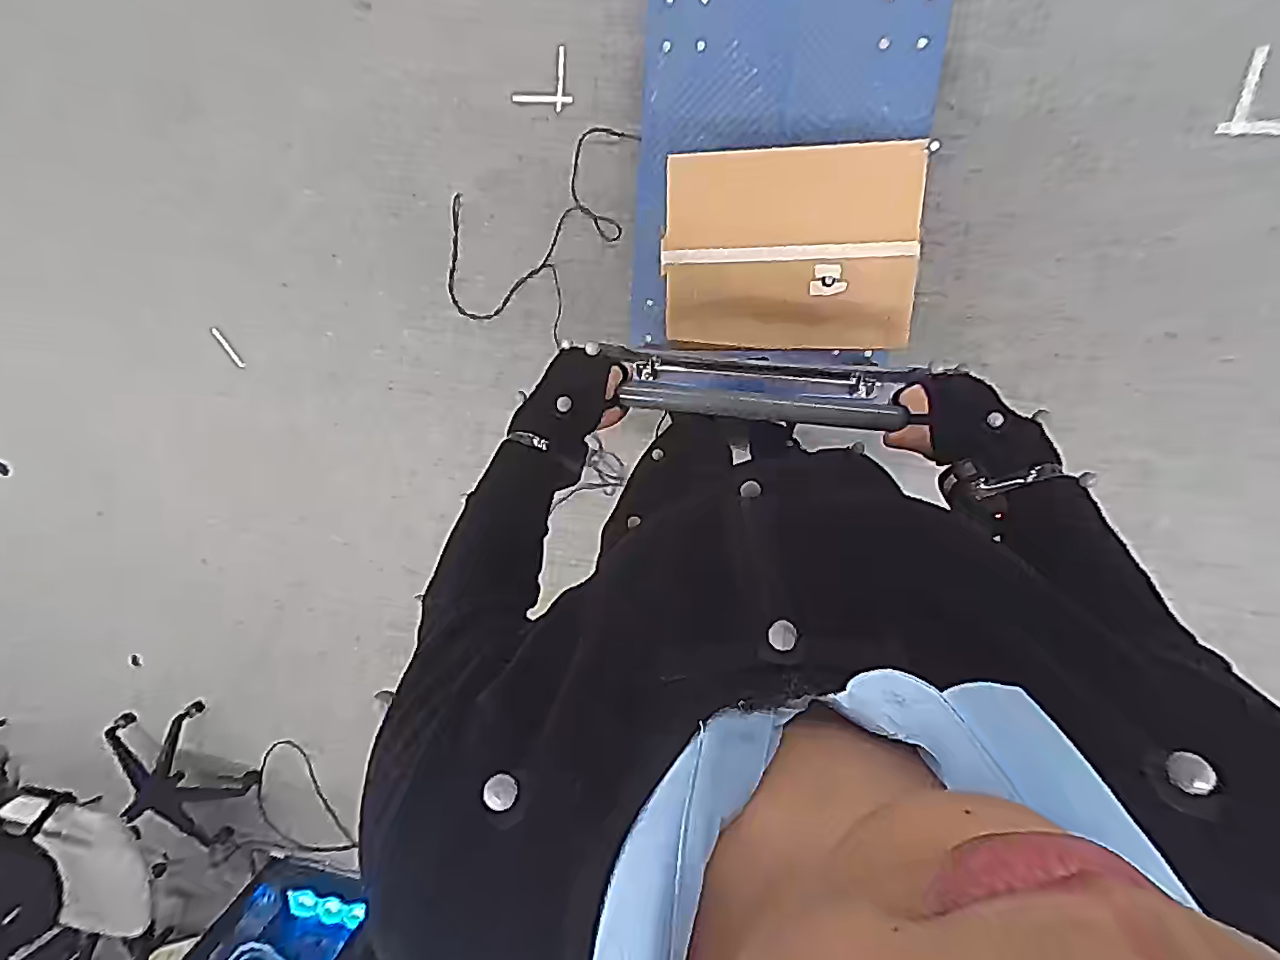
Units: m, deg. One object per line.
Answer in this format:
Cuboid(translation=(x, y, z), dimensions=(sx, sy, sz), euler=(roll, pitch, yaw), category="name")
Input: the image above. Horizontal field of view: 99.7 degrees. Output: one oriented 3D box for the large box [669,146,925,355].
Cuboid(translation=(0.269, -0.409, 1.043), dimensions=(0.408, 0.320, 0.320), euler=(2, 105, 8), category="large box")
